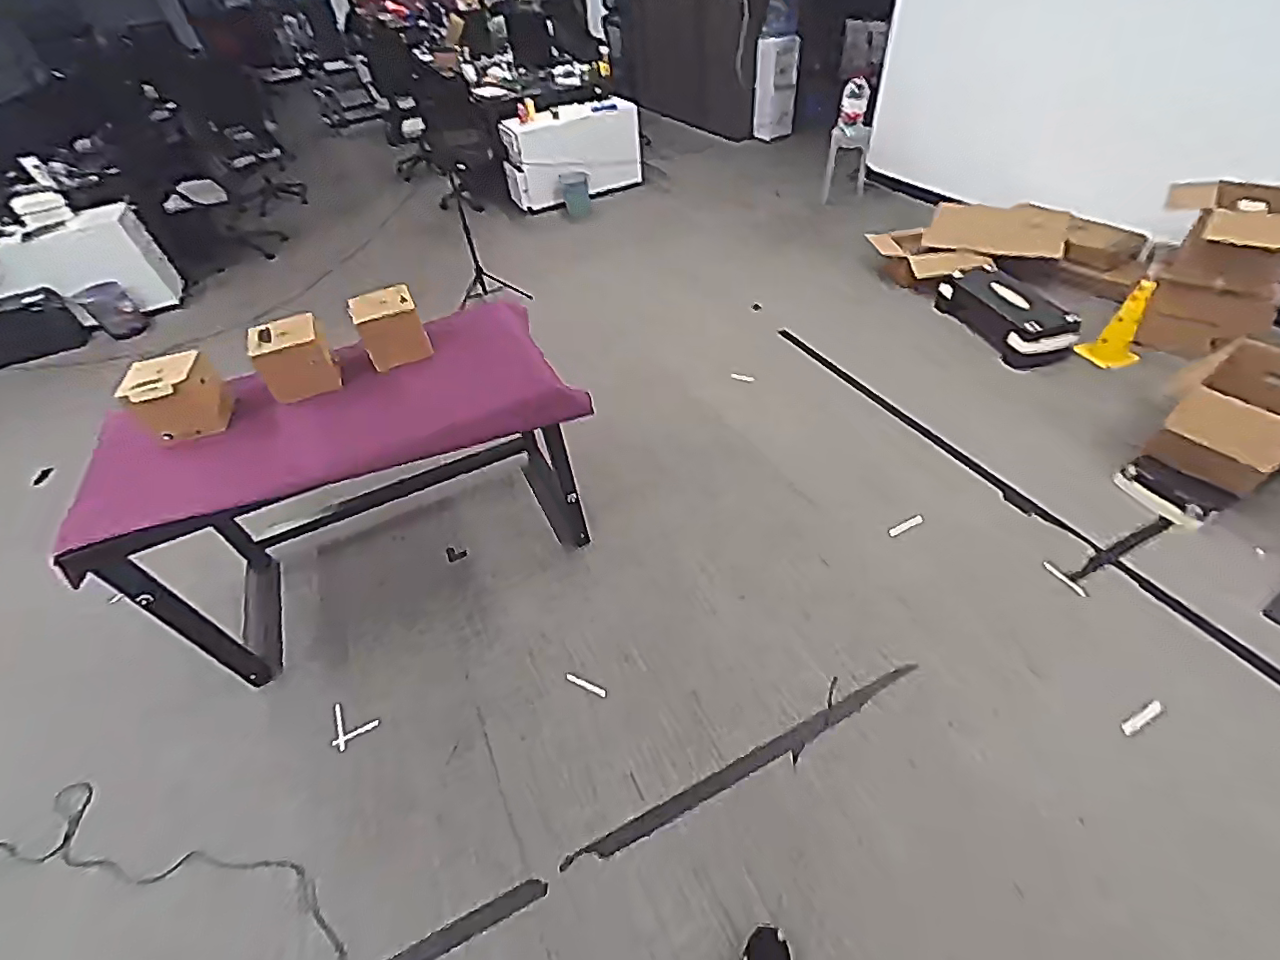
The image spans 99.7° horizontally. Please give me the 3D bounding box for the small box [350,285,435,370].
[{"bbox_3d":[-0.754,-0.462,1.652,0.179,0.176,0.168,-23,50,-13],"label":"small box"}]

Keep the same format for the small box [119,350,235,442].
[{"bbox_3d":[-1.255,-0.224,1.484,0.168,0.176,0.179,-18,47,-11],"label":"small box"}]
